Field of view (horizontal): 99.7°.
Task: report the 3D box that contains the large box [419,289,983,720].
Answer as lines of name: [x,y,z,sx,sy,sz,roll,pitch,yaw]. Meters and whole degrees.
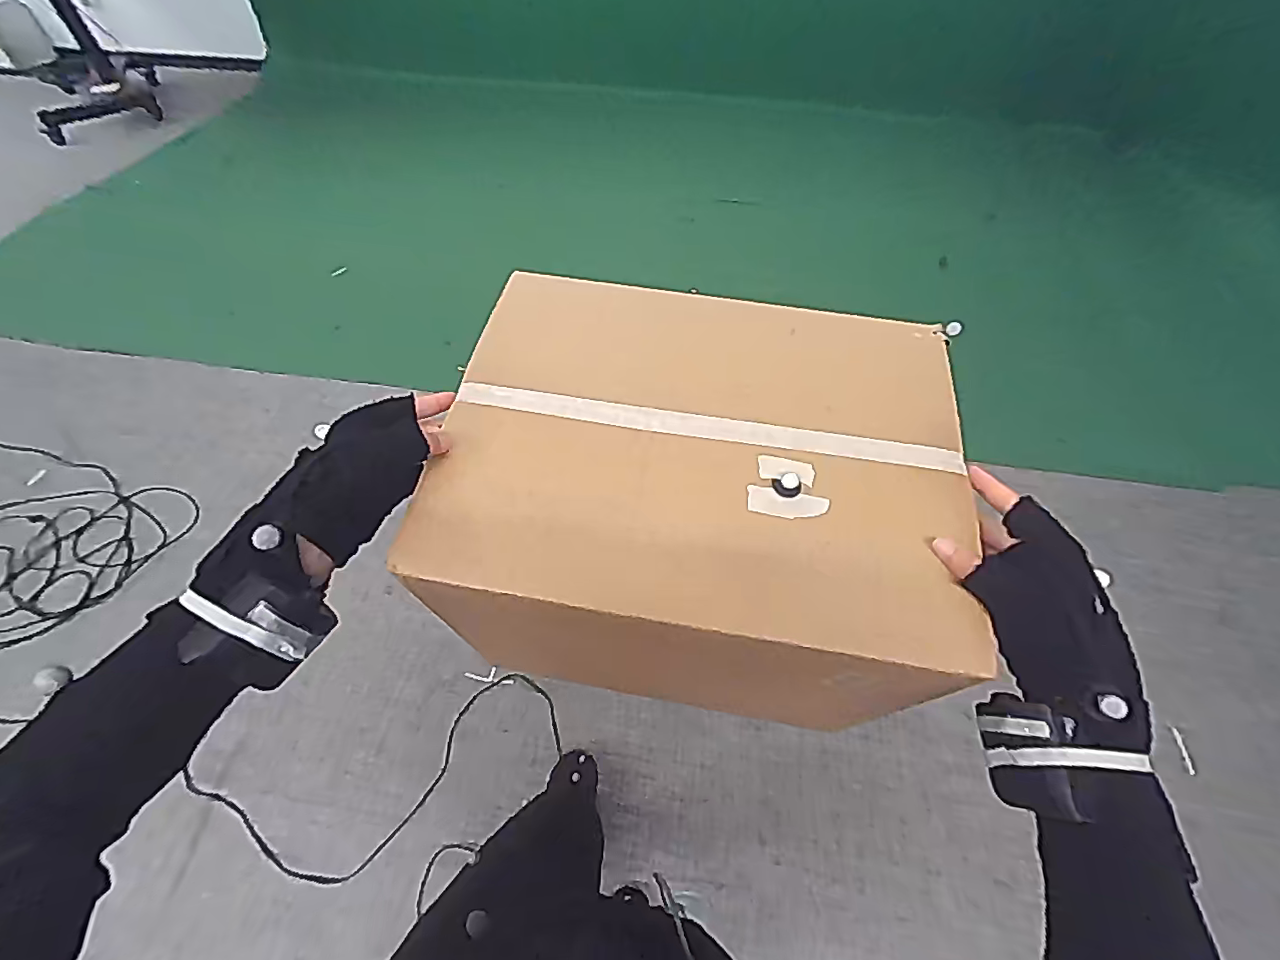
large box: [0.054,0.042,0.575,0.408,0.320,0.320,9,60,4]
